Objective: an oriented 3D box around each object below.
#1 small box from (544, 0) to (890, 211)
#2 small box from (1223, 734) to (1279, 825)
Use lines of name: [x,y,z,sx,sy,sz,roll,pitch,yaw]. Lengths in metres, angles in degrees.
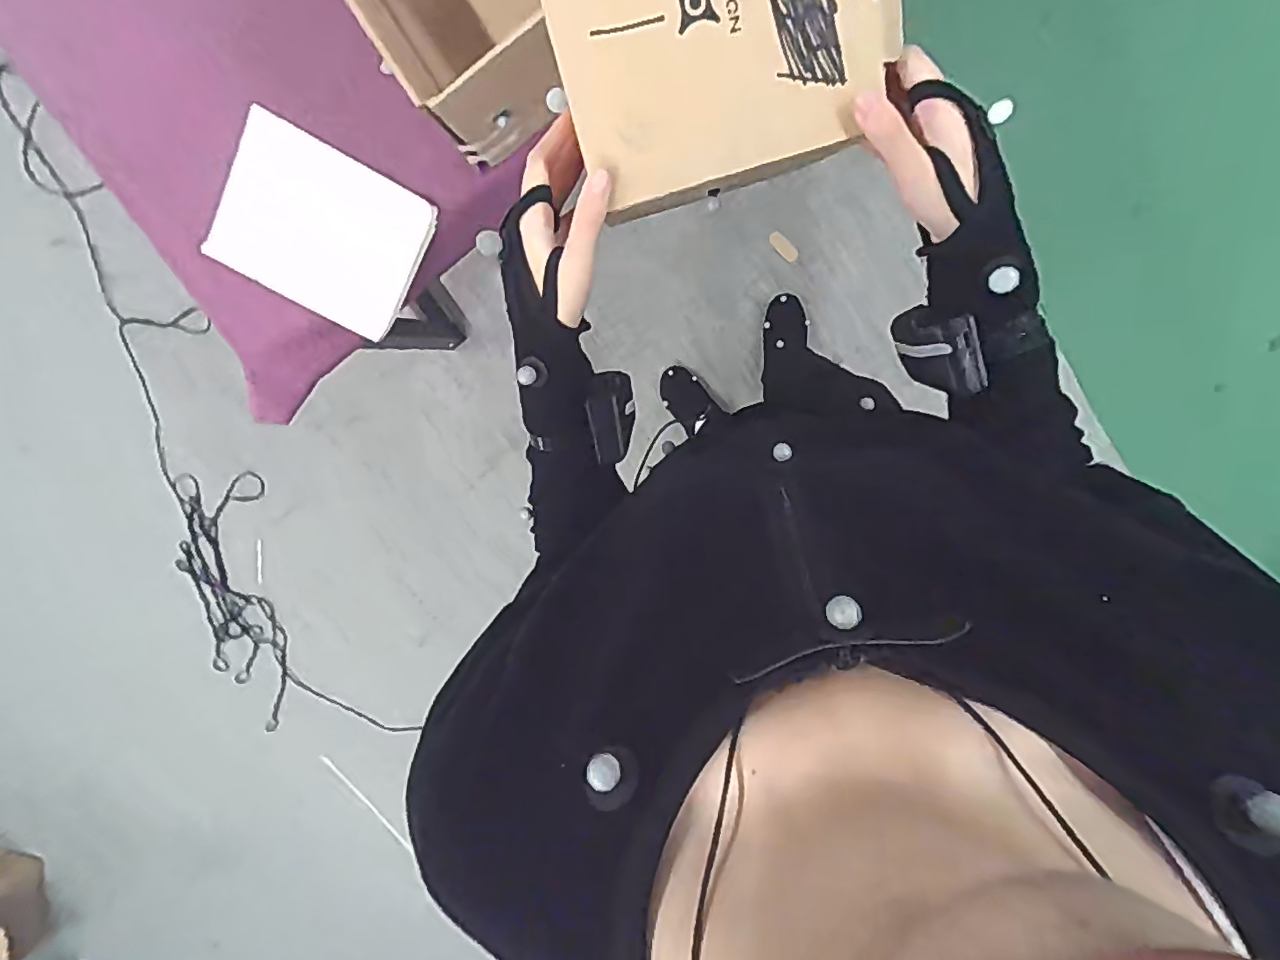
small box: [0.036,-0.288,0.351,0.179,0.176,0.168,-14,112,5]
small box: [1.453,0.685,1.168,0.179,0.176,0.168,42,102,-5]
